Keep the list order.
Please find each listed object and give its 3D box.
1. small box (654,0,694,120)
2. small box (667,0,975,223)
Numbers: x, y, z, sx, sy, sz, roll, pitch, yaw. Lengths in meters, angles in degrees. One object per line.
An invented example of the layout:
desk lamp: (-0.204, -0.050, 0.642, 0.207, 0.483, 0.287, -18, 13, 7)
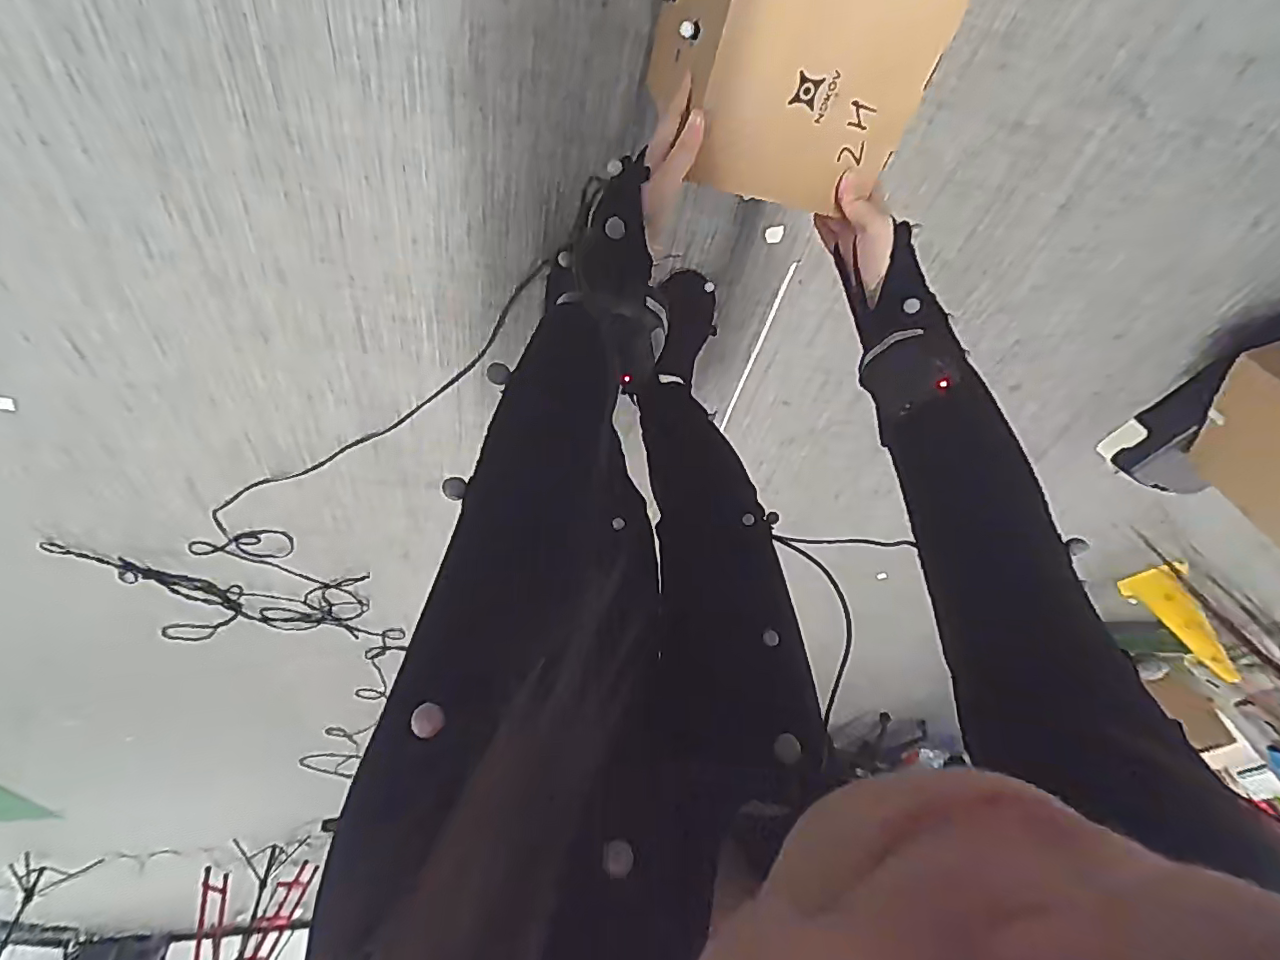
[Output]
small box: (0.115, -0.487, 0.576, 0.168, 0.176, 0.179, 5, 137, -14)
small box: (0.131, -0.359, 0.473, 0.179, 0.176, 0.168, 6, 138, -14)
